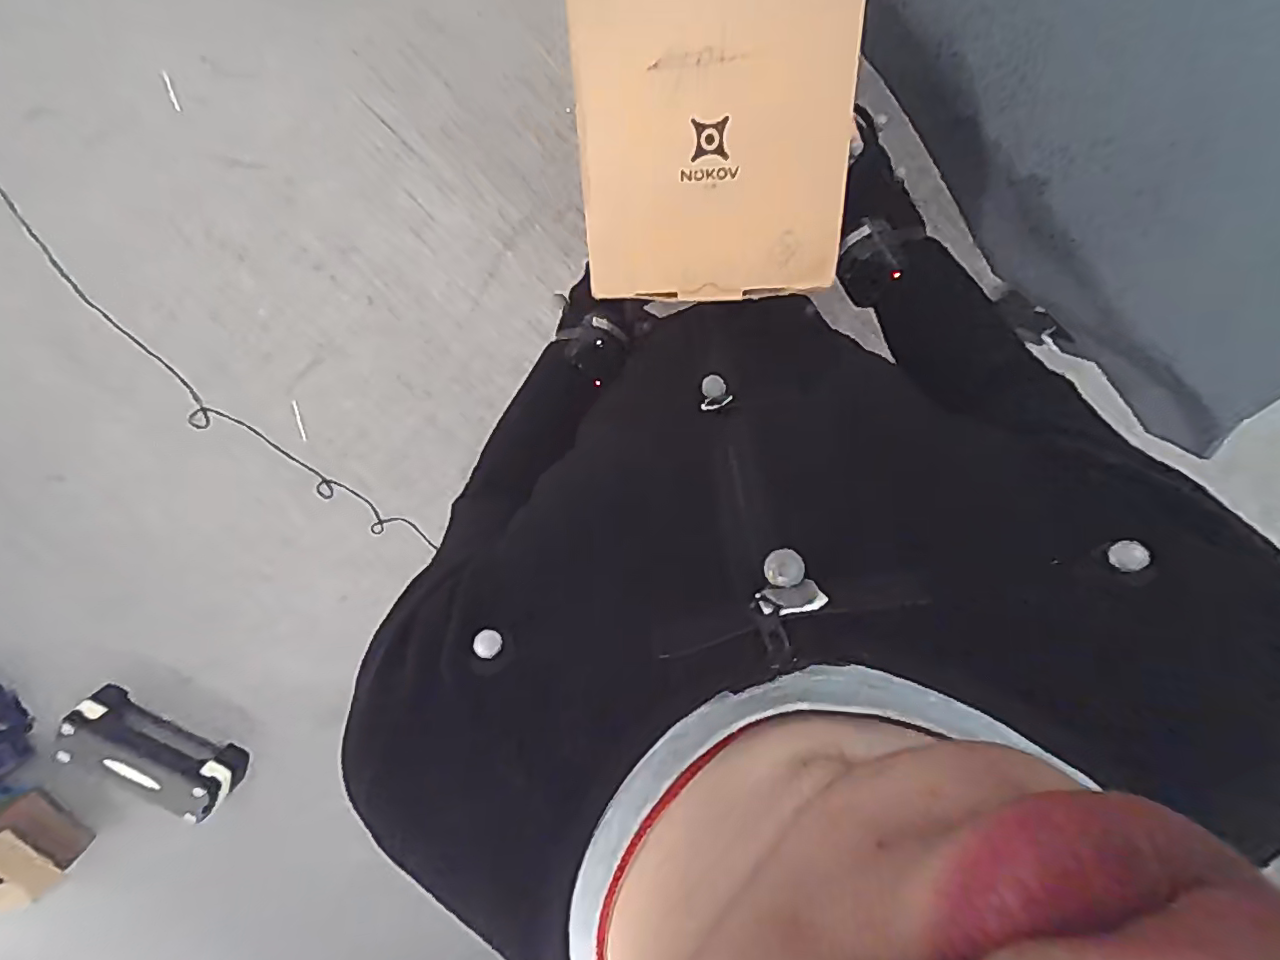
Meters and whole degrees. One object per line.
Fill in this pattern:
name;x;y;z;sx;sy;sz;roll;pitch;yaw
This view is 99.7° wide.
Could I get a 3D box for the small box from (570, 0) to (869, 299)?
small box;0.056;-0.239;0.397;0.168;0.176;0.179;0;117;8
